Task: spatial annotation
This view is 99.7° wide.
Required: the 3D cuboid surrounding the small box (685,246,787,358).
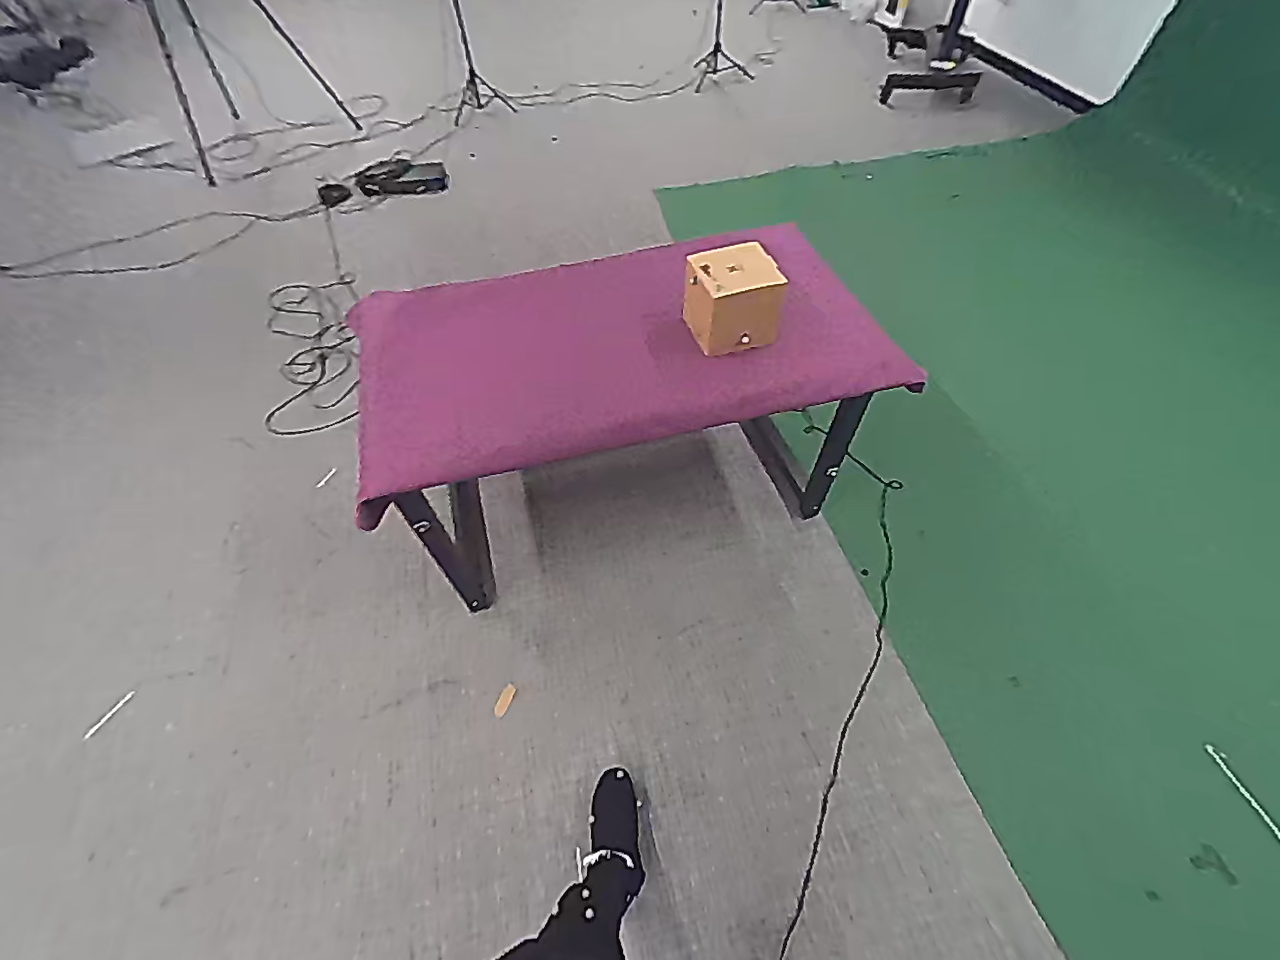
[{"bbox_3d":[0.213,-0.410,1.254,0.179,0.176,0.168,-15,55,-8],"label":"small box"}]
